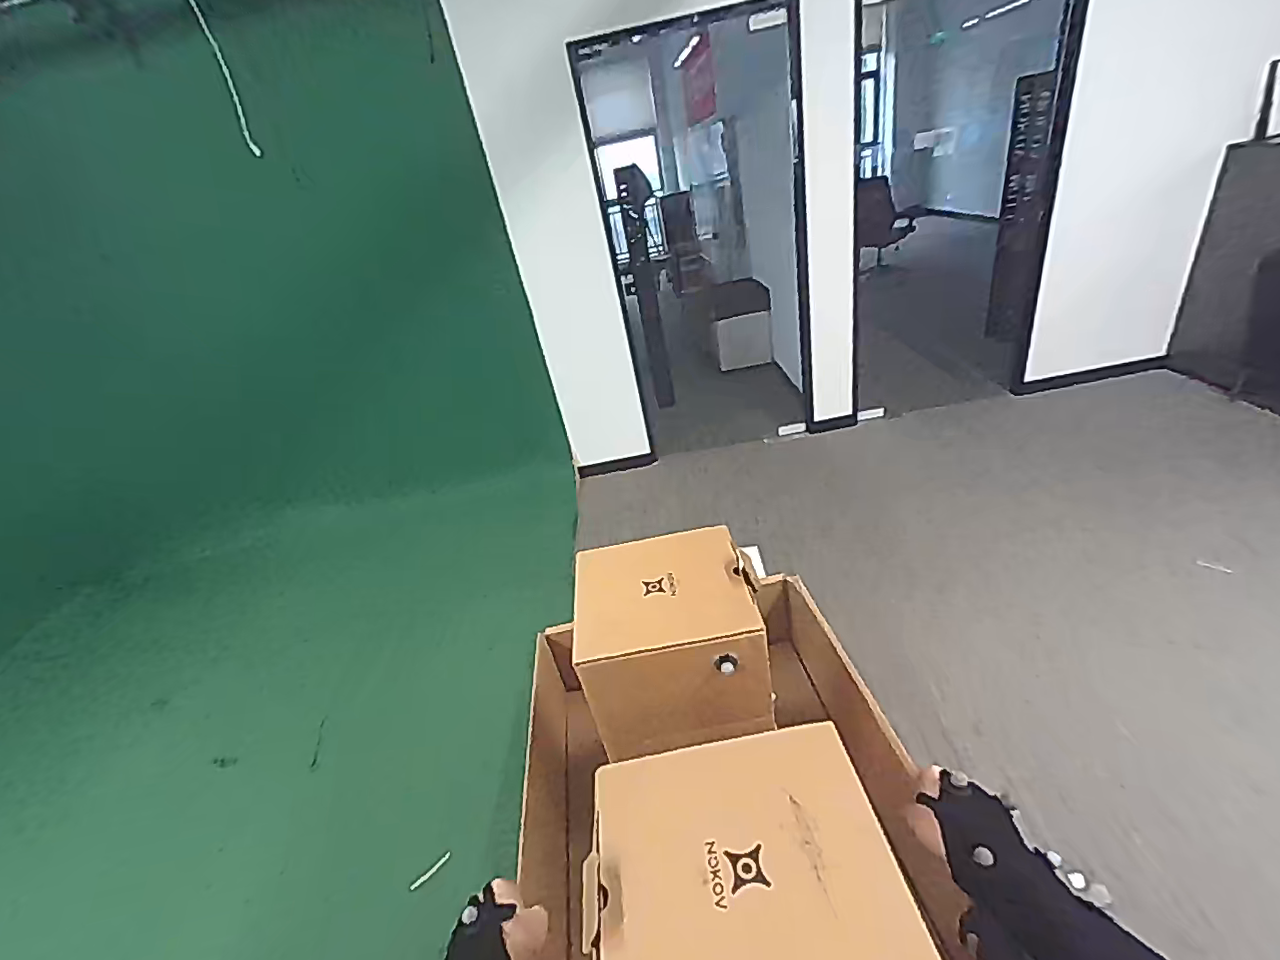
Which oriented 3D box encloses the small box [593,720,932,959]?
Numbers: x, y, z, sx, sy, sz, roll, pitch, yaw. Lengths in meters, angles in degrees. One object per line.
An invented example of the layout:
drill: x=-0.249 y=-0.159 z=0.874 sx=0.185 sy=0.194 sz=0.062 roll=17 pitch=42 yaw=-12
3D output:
small box: x=0.072 y=0.298 z=0.362 sx=0.179 sy=0.176 sz=0.168 roll=-11 pitch=30 yaw=1

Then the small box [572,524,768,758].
small box: x=0.032 y=0.175 z=0.592 sx=0.179 sy=0.176 sz=0.168 roll=-10 pitch=30 yaw=1
